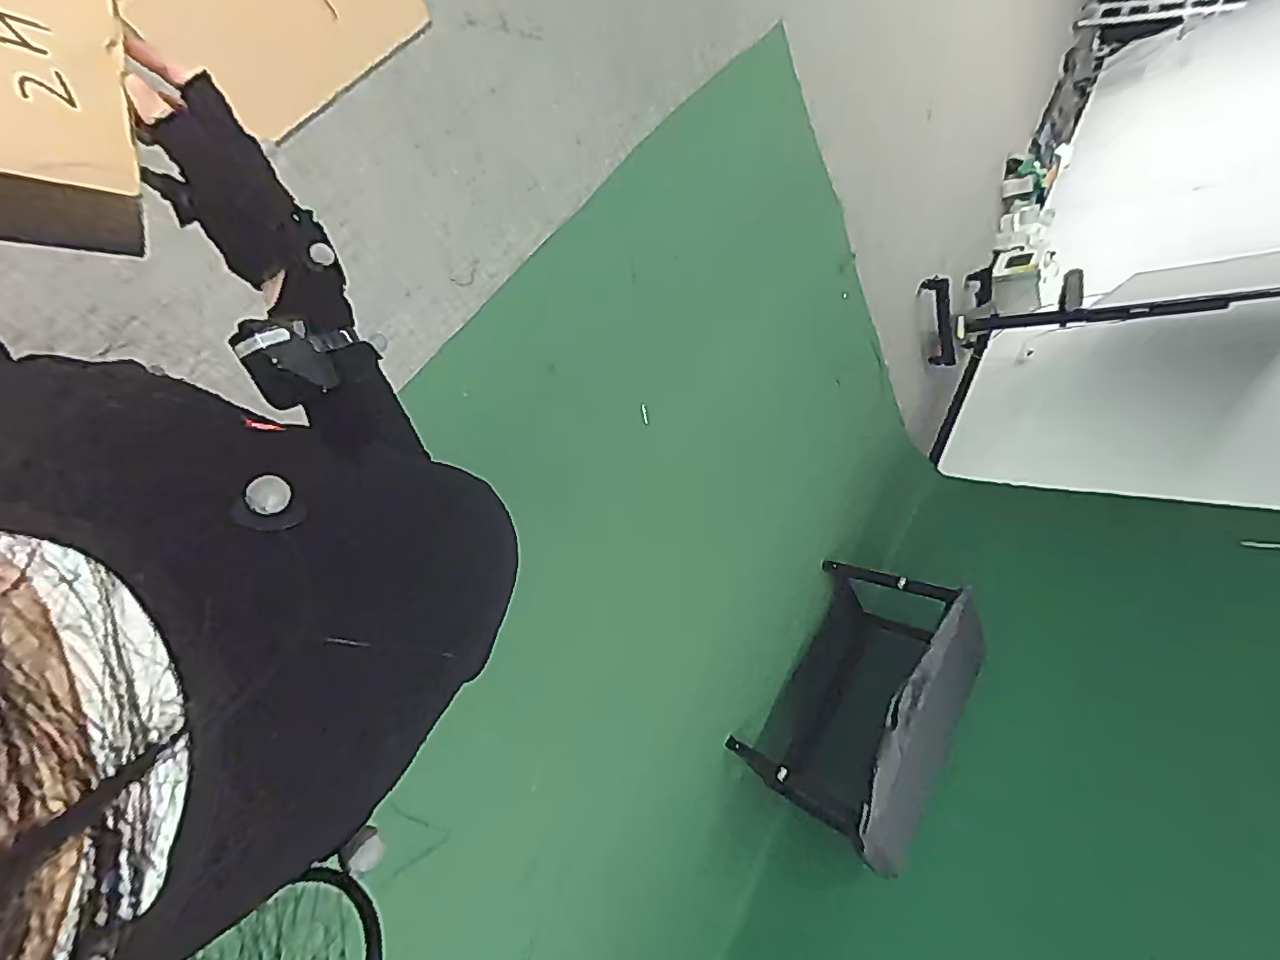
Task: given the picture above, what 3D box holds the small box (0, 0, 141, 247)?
[{"bbox_3d":[-0.431,-0.255,0.326,0.179,0.176,0.168,-8,100,-41],"label":"small box"}]
